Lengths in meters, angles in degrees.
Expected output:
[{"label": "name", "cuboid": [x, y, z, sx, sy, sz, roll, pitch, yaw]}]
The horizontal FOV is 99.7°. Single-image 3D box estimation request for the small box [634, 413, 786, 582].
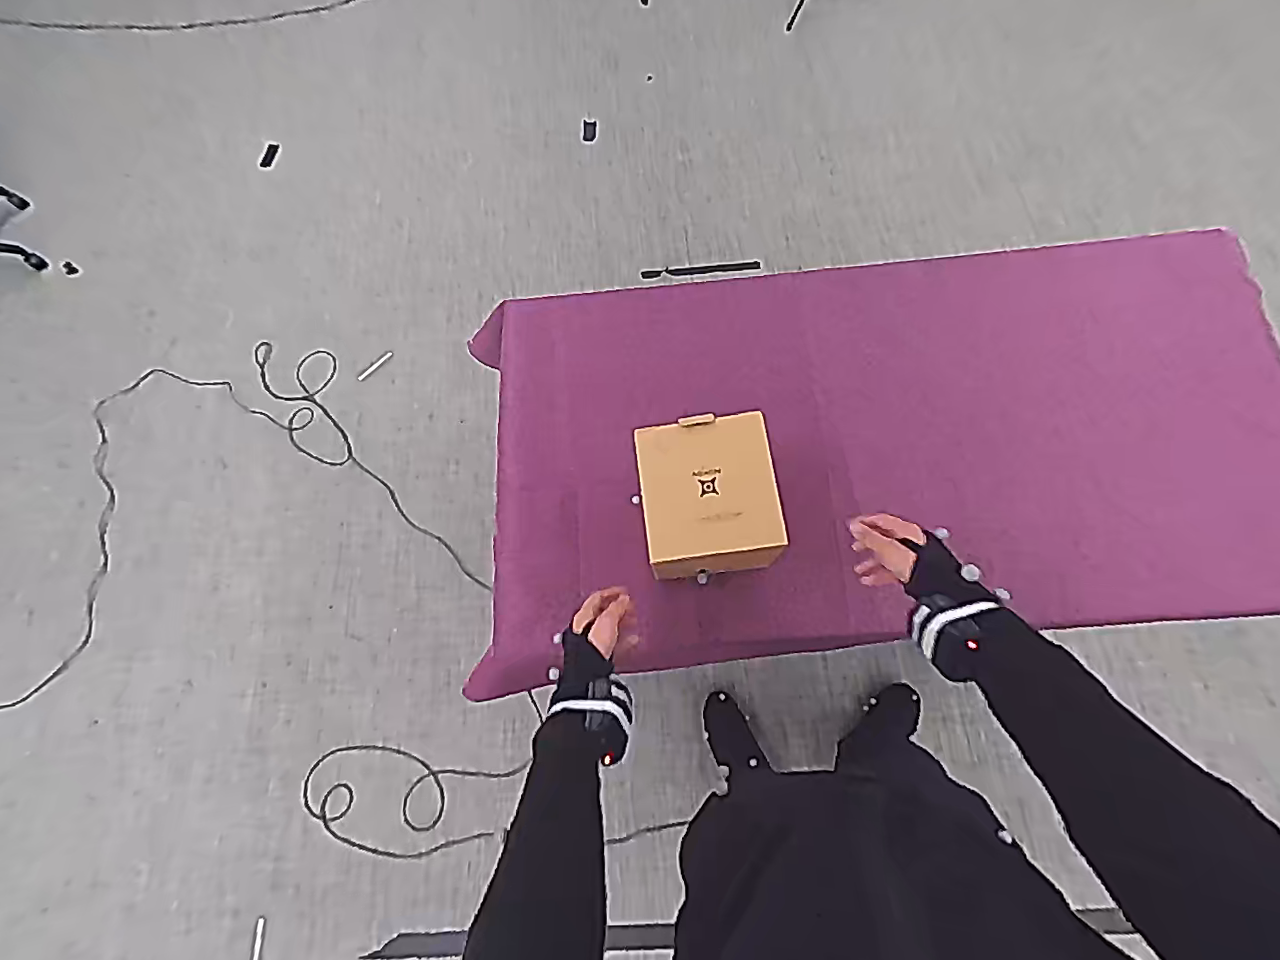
[{"label": "small box", "cuboid": [0.086, 0.031, 0.728, 0.168, 0.176, 0.179, -8, 72, 3]}]
